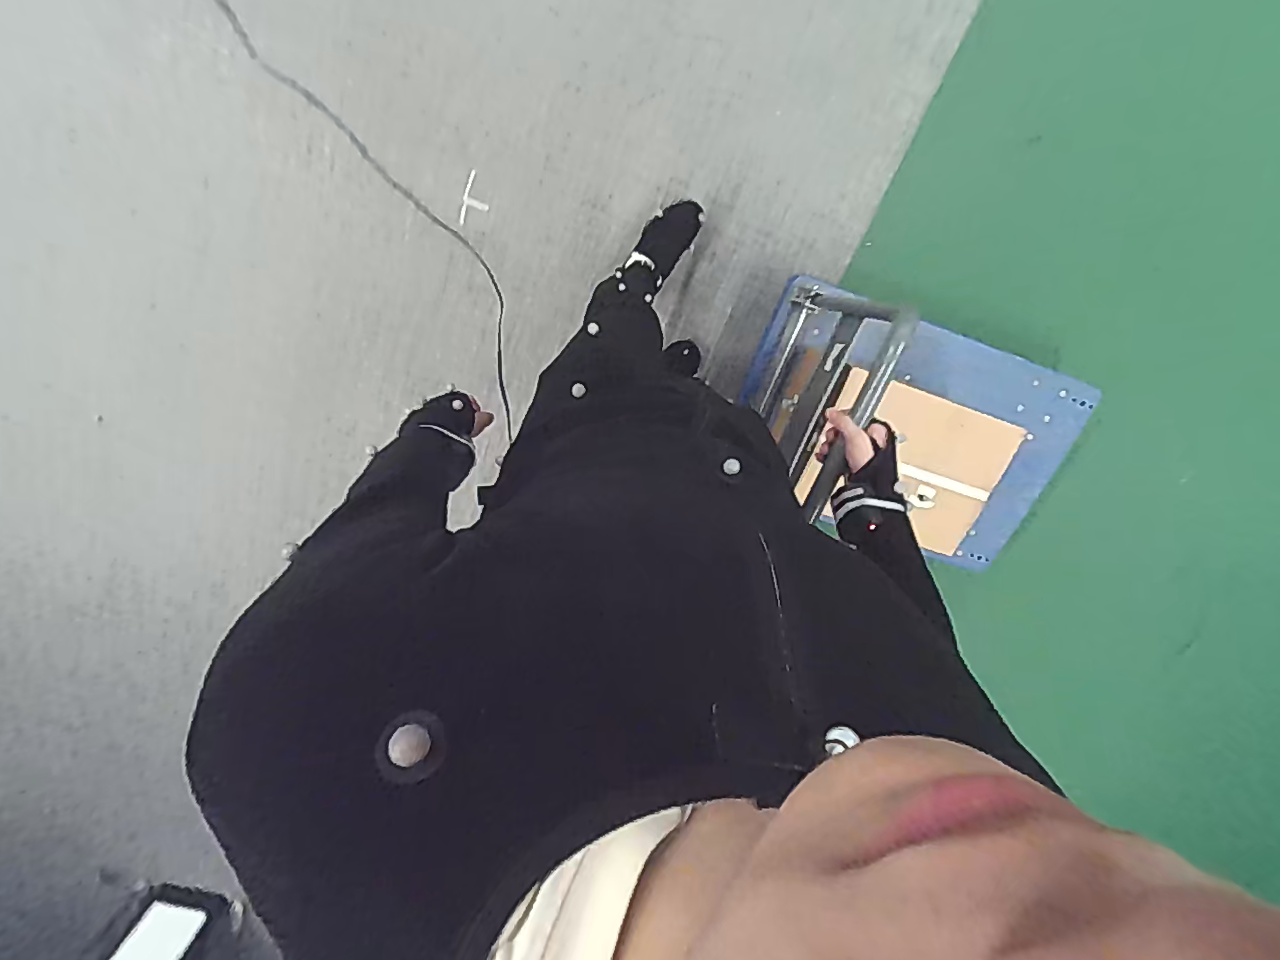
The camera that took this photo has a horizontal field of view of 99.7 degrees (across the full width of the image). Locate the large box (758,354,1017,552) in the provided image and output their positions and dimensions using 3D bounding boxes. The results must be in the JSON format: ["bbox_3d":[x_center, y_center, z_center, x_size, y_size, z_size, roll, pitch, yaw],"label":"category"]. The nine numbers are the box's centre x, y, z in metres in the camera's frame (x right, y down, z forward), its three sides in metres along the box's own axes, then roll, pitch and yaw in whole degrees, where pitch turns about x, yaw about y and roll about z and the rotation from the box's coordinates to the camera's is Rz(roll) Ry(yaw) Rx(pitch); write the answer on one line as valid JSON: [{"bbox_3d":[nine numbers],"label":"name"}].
[{"bbox_3d":[0.546,-0.079,1.286,0.408,0.320,0.320,18,110,-7],"label":"large box"}]
